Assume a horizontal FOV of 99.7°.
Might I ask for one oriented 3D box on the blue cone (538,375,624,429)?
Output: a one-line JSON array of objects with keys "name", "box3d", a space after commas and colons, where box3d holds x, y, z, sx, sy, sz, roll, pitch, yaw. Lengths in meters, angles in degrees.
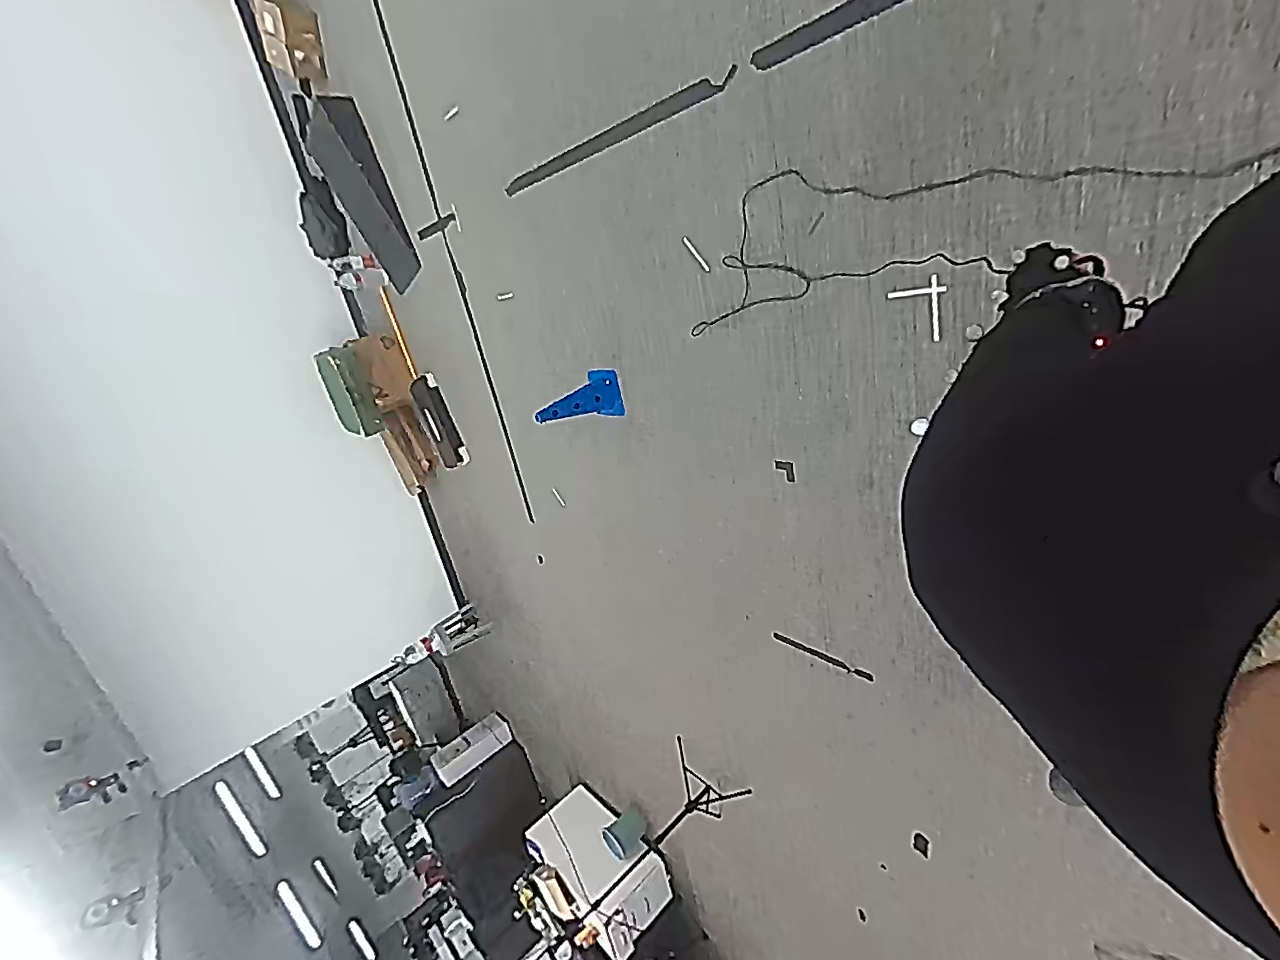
[{"name": "blue cone", "box3d": [-0.263, -0.297, 2.237, 0.193, 0.380, 0.192, 13, 122, 48]}]
